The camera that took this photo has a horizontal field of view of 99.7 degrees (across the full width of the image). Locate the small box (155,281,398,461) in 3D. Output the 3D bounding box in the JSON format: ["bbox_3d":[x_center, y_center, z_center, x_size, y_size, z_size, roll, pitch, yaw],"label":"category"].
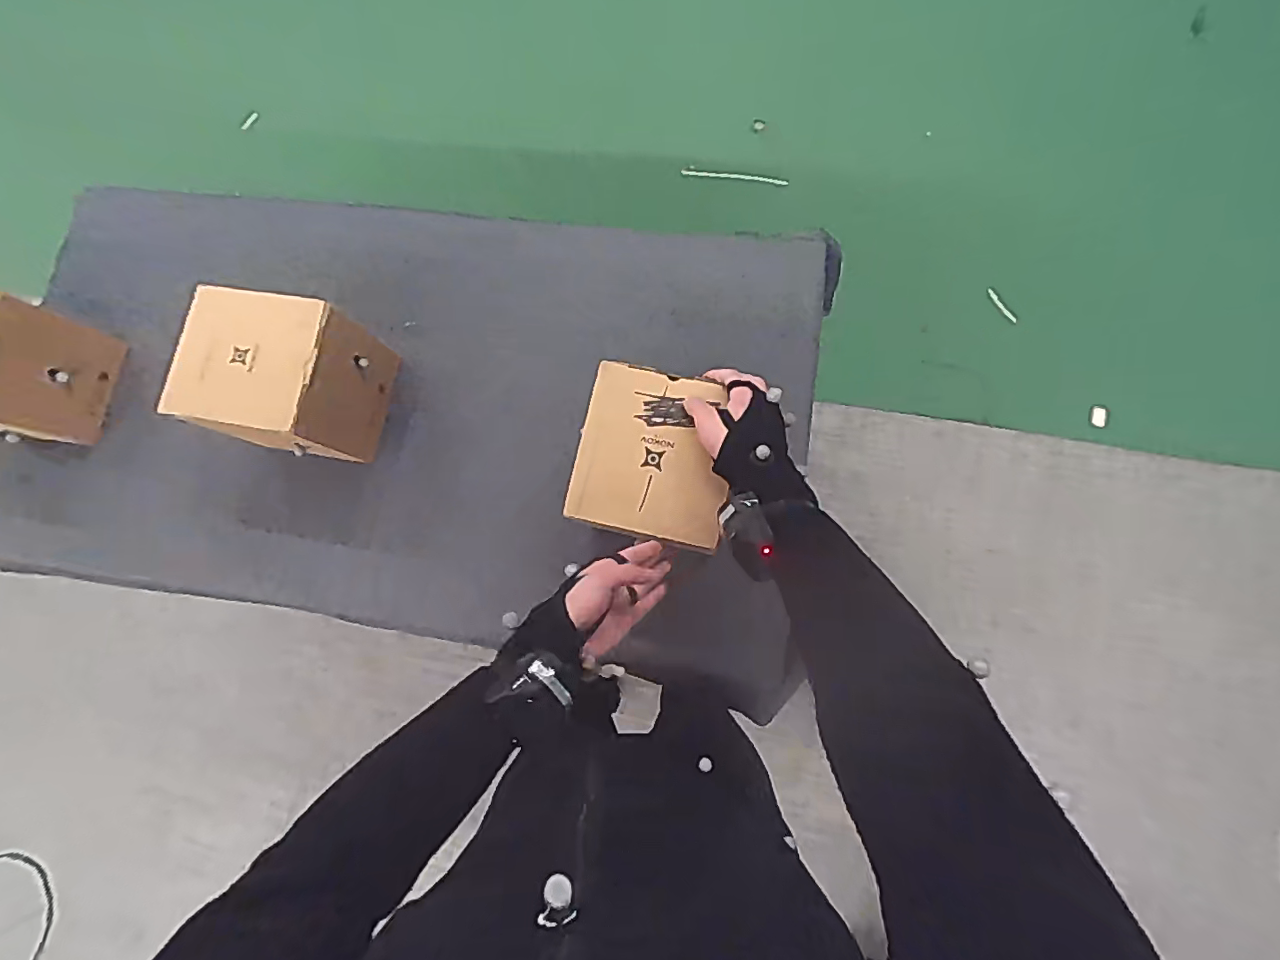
[{"bbox_3d":[-0.447,-0.129,0.698,0.179,0.176,0.168,9,78,7],"label":"small box"}]

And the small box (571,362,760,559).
[{"bbox_3d":[0.032,-0.012,0.636,0.168,0.176,0.179,13,81,7],"label":"small box"}]

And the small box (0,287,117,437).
[{"bbox_3d":[-0.883,-0.164,0.732,0.179,0.176,0.168,9,79,4],"label":"small box"}]
